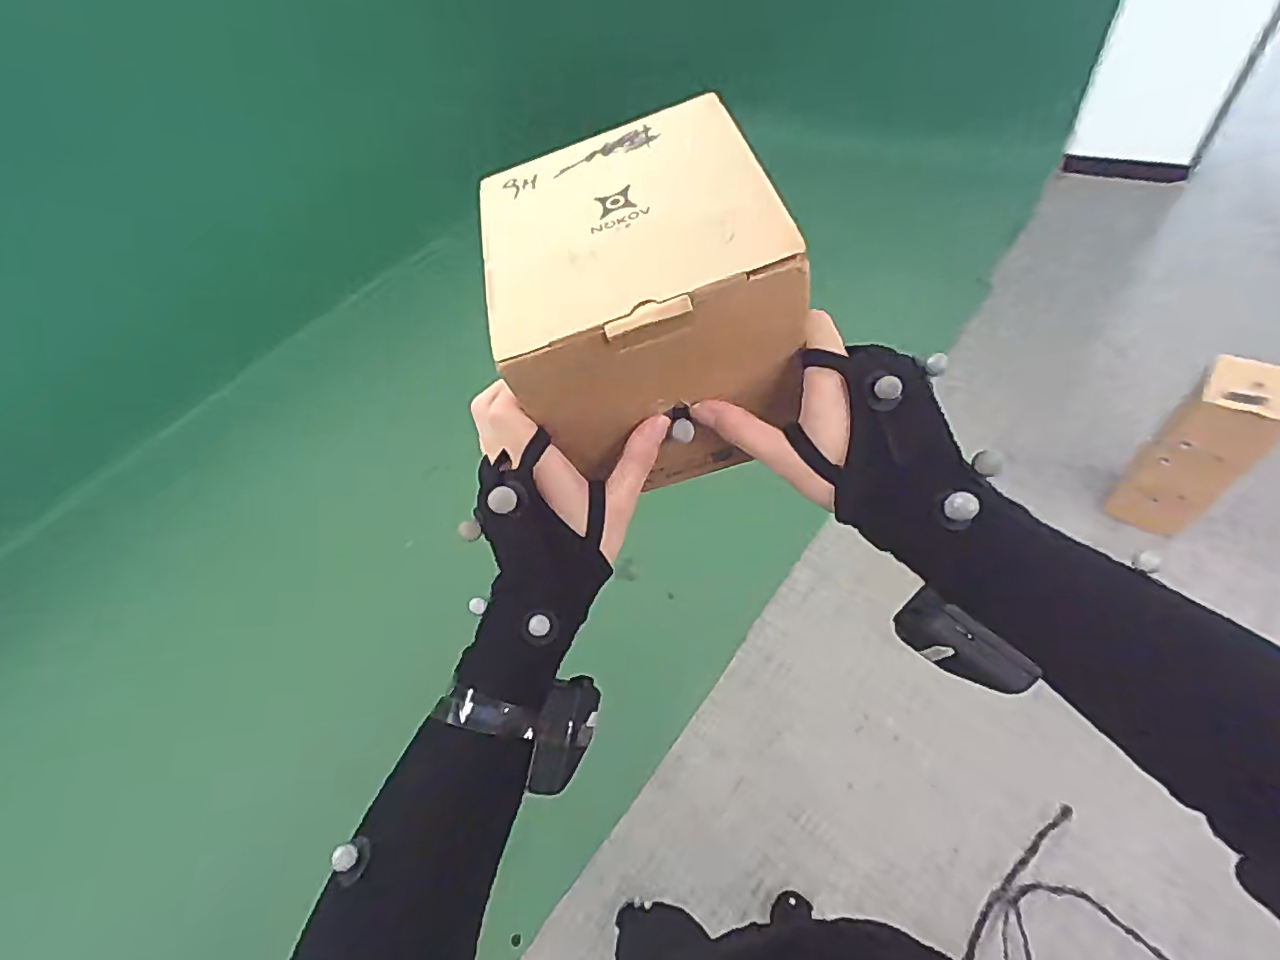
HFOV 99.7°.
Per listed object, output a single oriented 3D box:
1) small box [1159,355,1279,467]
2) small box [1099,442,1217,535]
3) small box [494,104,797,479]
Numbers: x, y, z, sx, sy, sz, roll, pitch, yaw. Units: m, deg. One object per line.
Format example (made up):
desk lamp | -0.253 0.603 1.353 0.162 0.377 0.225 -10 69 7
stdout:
small box | 1.379 -0.159 1.274 0.168 0.176 0.179 27 63 30
small box | 1.458 0.027 1.533 0.179 0.176 0.168 29 66 31
small box | 0.010 -0.118 0.393 0.168 0.176 0.179 -16 58 7
